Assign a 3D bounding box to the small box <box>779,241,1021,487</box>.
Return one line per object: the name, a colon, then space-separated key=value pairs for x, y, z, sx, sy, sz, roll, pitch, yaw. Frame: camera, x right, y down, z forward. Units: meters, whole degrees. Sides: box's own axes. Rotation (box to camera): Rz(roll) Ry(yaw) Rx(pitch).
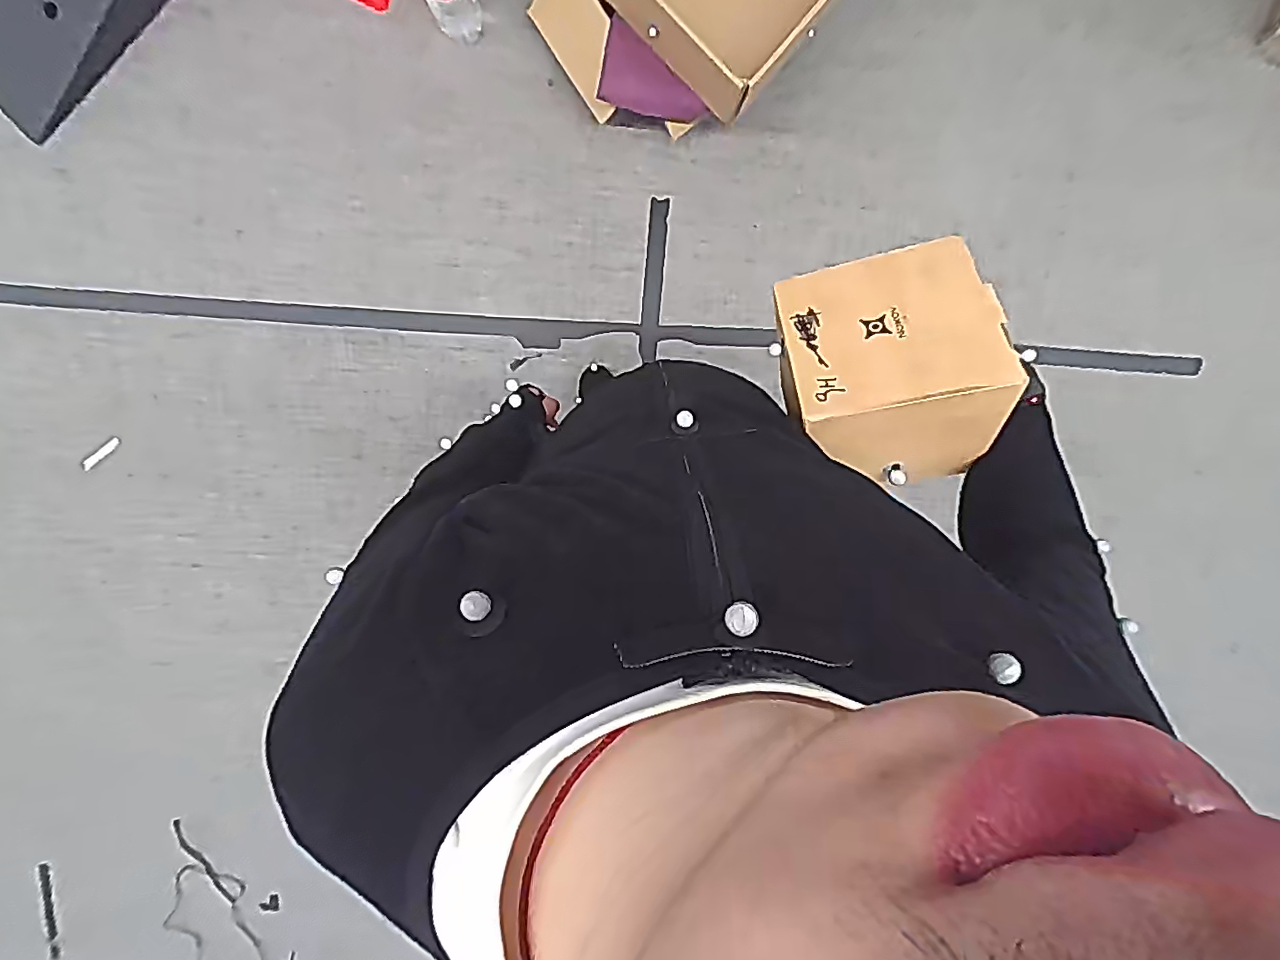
small box: x=0.248 y=-0.108 z=0.565 sx=0.179 sy=0.176 sz=0.168 roll=-10 pitch=62 yaw=13
